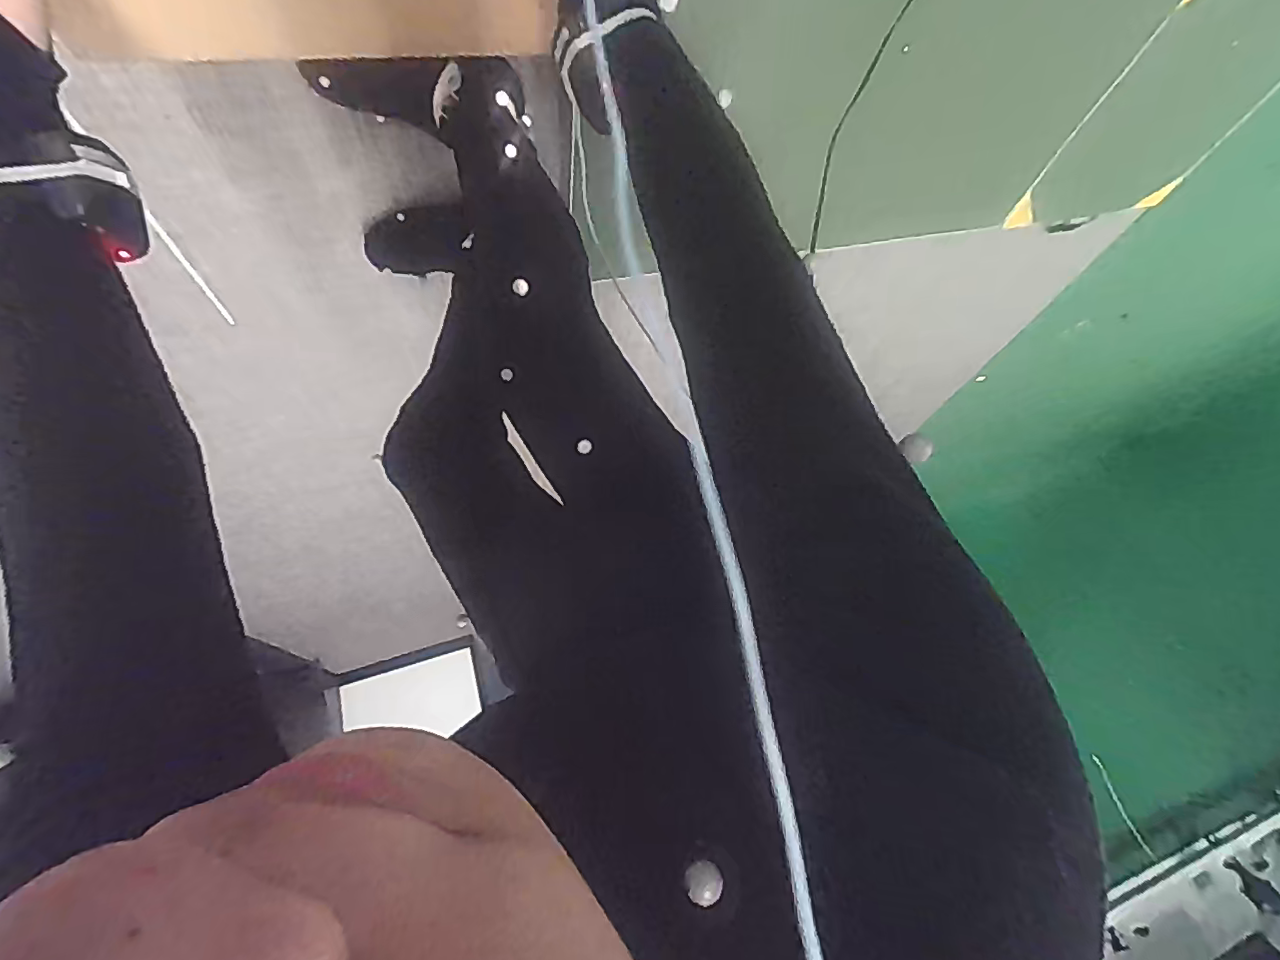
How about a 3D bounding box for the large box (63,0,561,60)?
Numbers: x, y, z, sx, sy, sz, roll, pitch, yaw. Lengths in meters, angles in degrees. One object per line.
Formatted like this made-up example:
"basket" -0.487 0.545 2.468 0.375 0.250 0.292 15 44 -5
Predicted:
"large box" -0.300 -0.598 0.436 0.408 0.320 0.320 -14 154 -16
